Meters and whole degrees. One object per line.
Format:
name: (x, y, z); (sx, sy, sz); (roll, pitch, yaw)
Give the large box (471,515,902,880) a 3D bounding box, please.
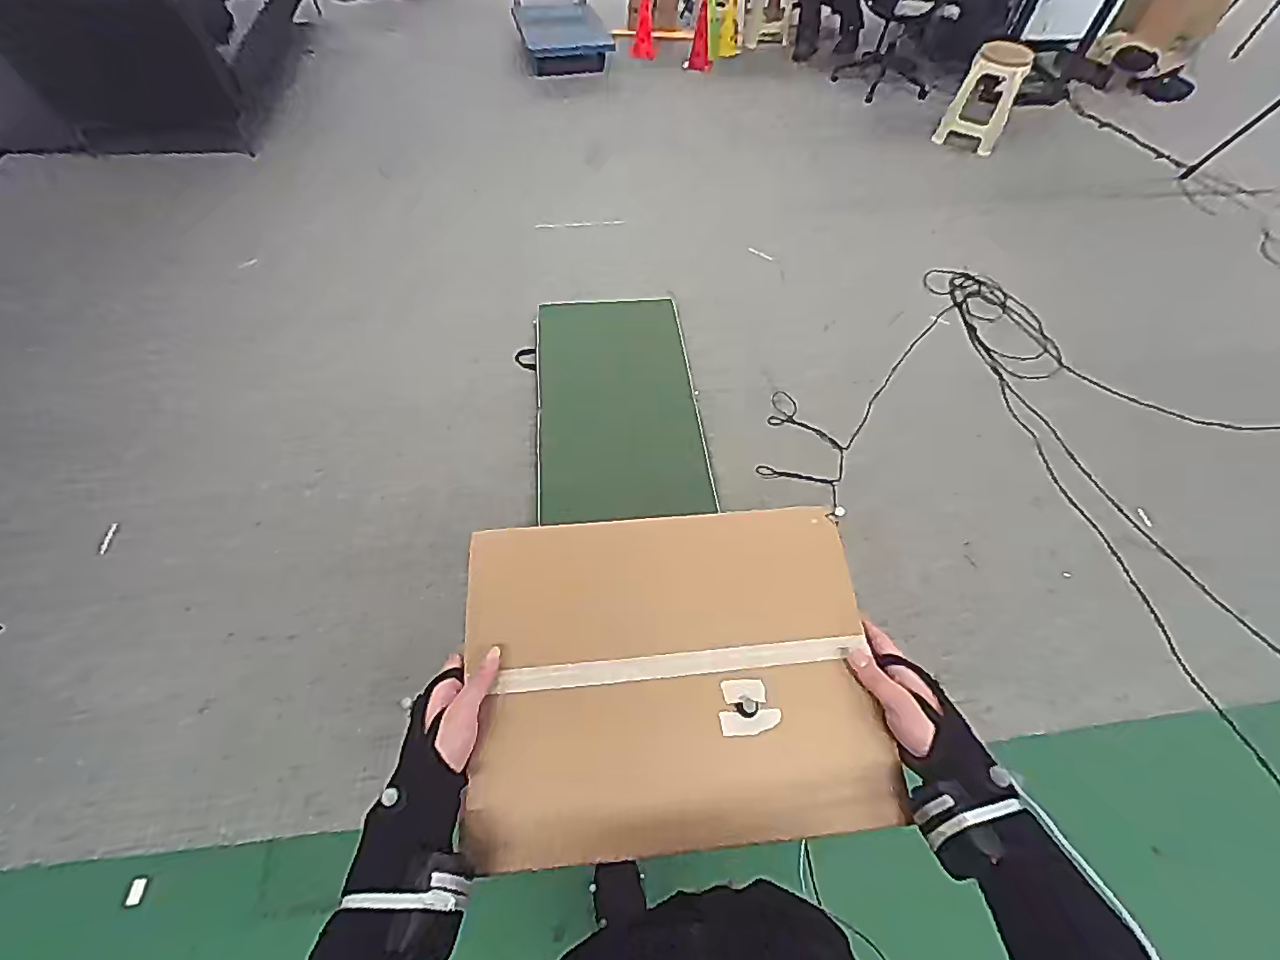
large box: (0.025, 0.259, 0.681); (0.408, 0.320, 0.320); (-4, 65, -5)
